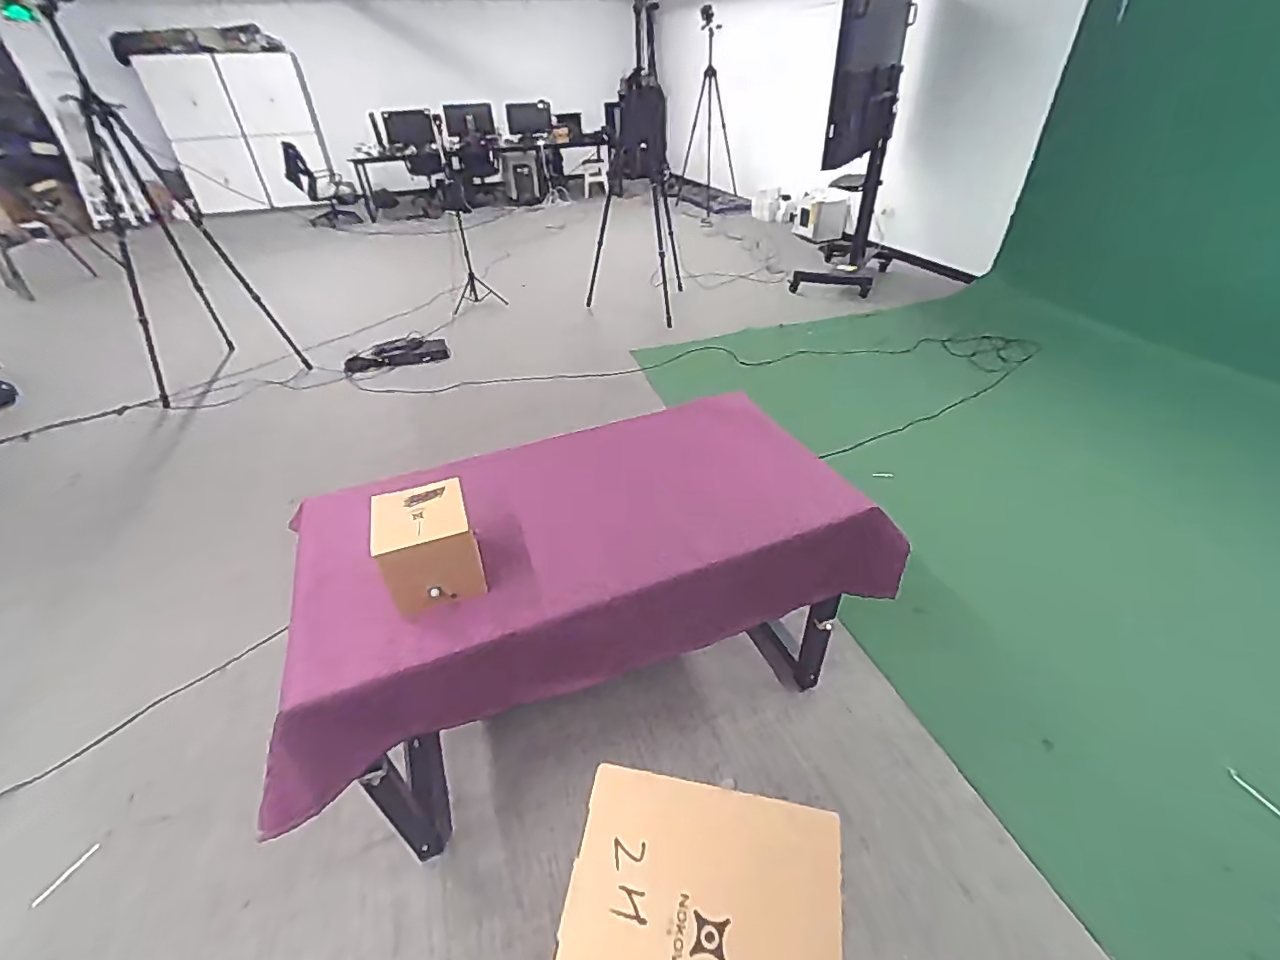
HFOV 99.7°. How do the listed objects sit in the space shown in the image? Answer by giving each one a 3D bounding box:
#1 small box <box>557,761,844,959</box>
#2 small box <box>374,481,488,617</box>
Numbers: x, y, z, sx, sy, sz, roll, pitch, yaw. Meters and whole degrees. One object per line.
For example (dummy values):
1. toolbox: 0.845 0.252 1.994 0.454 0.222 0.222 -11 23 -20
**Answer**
1. small box: 0.048 0.333 0.405 0.179 0.176 0.168 5 51 14
2. small box: -0.402 0.131 1.047 0.168 0.176 0.179 -15 39 -15
